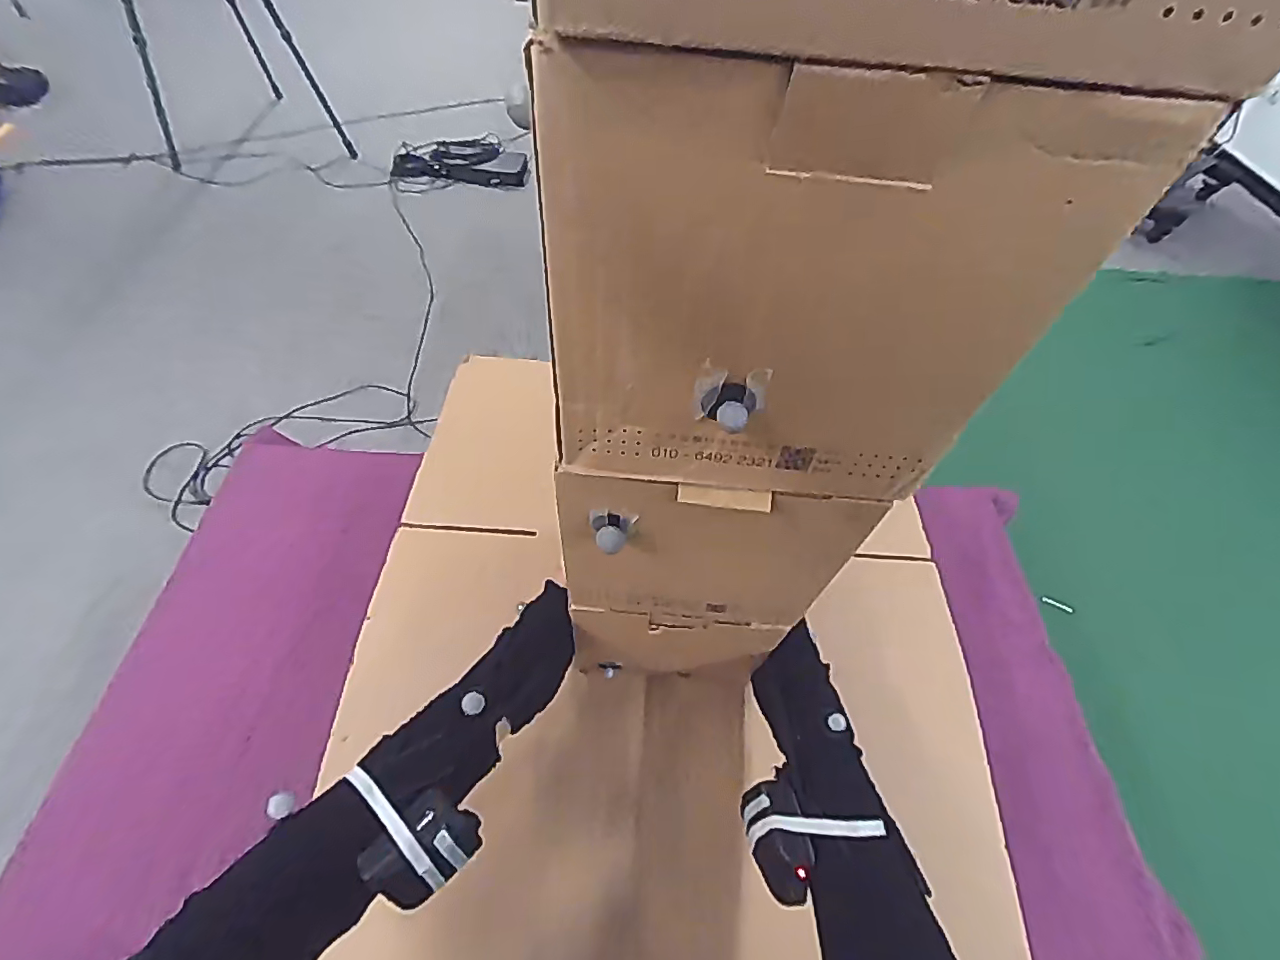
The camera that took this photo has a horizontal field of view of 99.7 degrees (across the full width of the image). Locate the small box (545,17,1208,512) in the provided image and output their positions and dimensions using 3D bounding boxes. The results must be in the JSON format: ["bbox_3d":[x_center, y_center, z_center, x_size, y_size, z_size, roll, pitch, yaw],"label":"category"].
[{"bbox_3d":[0.056,-0.108,0.242,0.168,0.176,0.179,5,55,-1],"label":"small box"}]

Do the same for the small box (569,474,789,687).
[{"bbox_3d":[0.032,0.082,0.507,0.168,0.176,0.179,6,54,0],"label":"small box"}]

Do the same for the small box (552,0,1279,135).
[{"bbox_3d":[0.067,-0.201,0.107,0.168,0.176,0.179,3,55,-2],"label":"small box"}]
